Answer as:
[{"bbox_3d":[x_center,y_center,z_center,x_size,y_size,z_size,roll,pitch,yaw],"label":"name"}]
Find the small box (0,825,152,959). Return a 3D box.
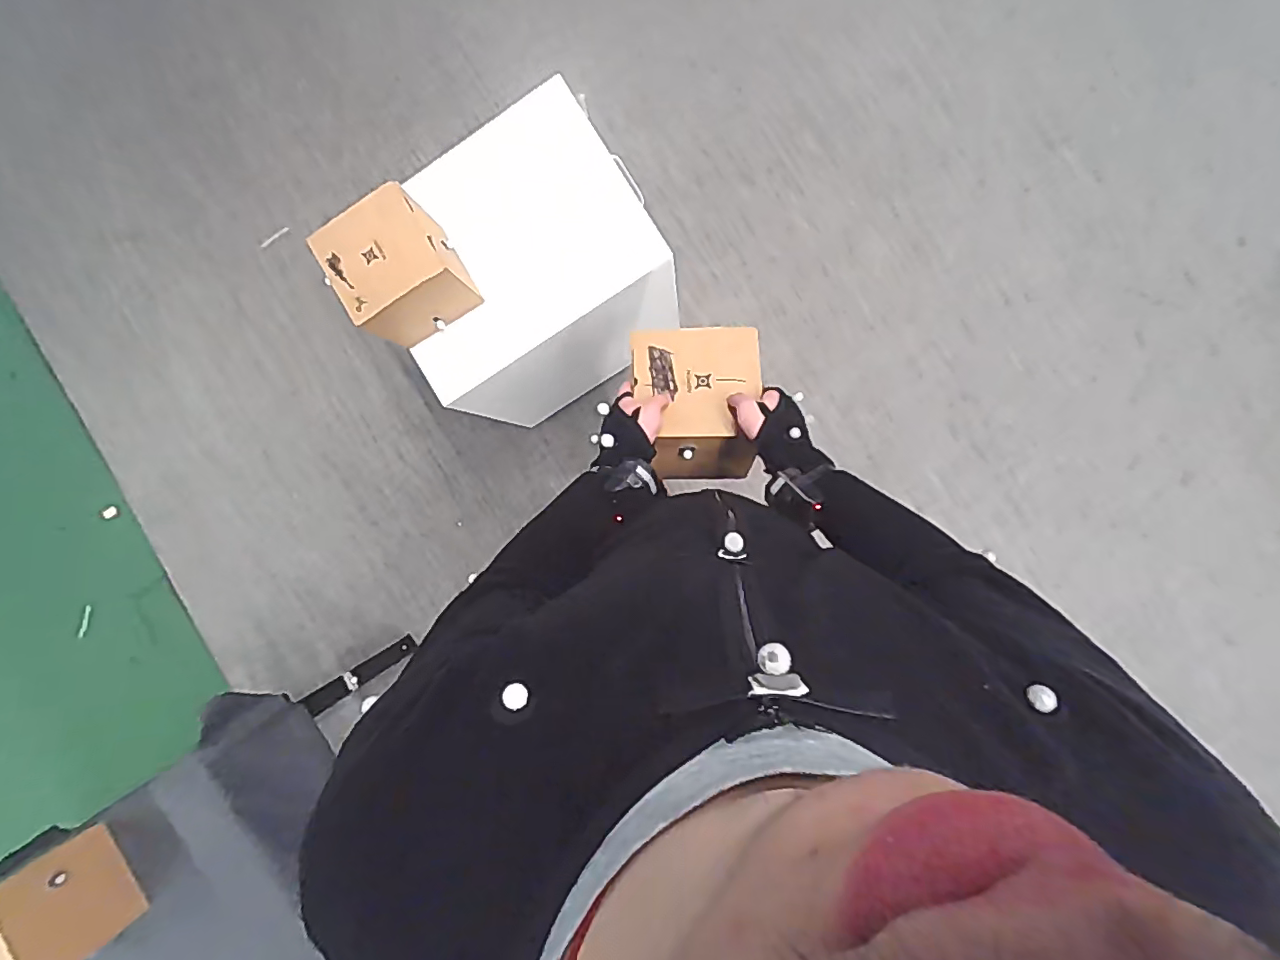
[{"bbox_3d":[-0.975,0.708,0.884,0.168,0.176,0.179,-31,90,7],"label":"small box"}]

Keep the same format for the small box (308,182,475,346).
[{"bbox_3d":[-0.407,-0.356,0.926,0.179,0.176,0.168,-30,88,4],"label":"small box"}]

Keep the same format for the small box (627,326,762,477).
[{"bbox_3d":[0.073,-0.107,0.791,0.179,0.176,0.168,0,71,1],"label":"small box"}]
